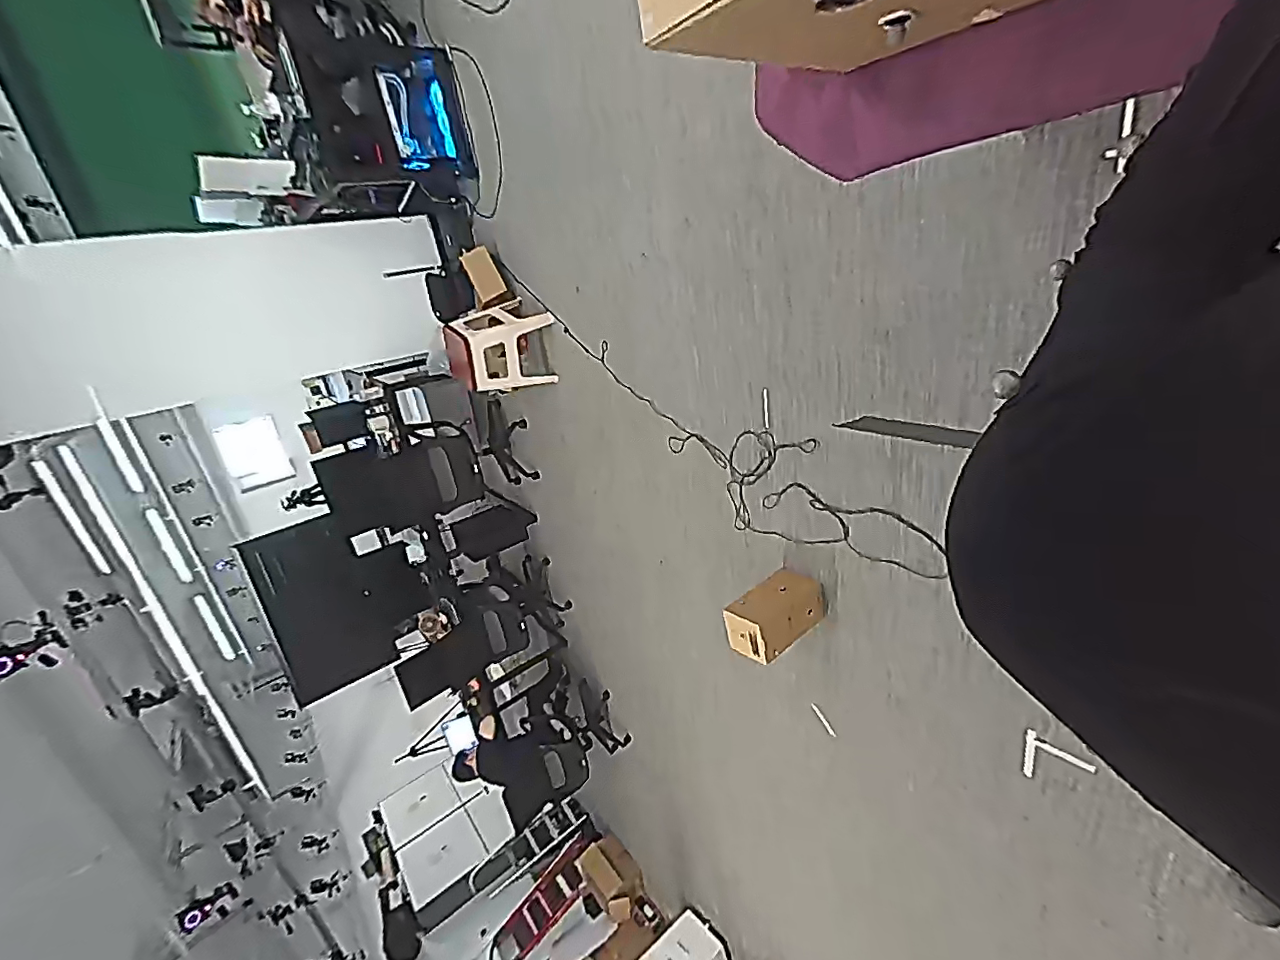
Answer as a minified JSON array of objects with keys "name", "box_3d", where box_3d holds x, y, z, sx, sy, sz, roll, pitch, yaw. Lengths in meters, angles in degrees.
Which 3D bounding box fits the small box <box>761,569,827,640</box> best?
[{"name":"small box","box_3d":[0.575,0.451,1.999,0.179,0.176,0.168,19,125,51]}]
